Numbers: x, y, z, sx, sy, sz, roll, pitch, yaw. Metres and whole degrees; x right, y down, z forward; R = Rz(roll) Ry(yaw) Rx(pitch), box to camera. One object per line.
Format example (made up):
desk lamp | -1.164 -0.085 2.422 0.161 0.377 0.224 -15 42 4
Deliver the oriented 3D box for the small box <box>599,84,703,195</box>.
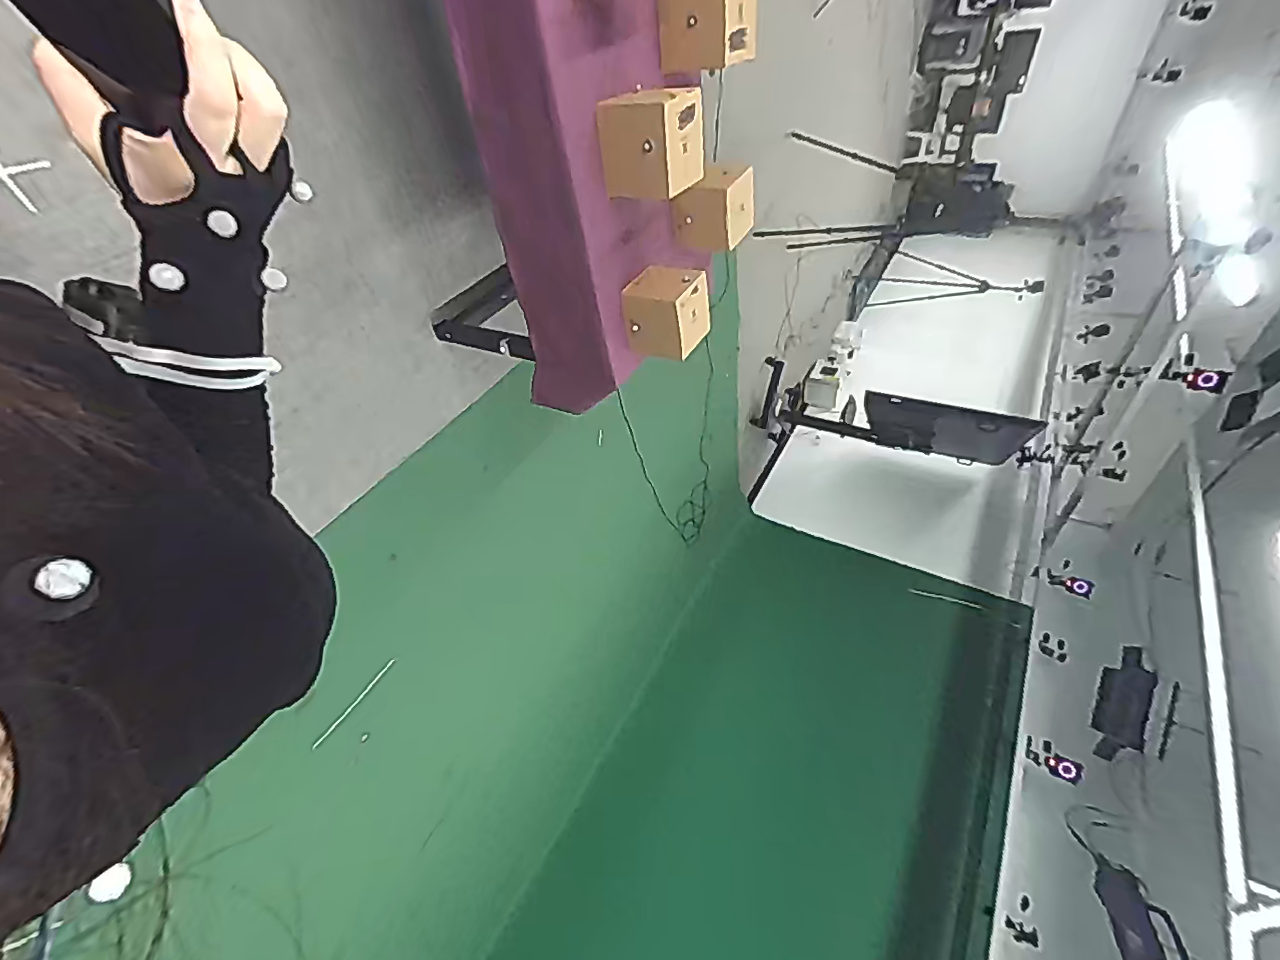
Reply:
small box | 0.026 -0.743 1.182 0.168 0.176 0.179 -50 147 -36

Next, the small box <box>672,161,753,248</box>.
small box | 0.203 -0.769 1.500 0.179 0.176 0.168 -53 148 -31

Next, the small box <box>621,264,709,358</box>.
small box | 0.069 -0.455 1.443 0.168 0.176 0.179 -53 148 -33
